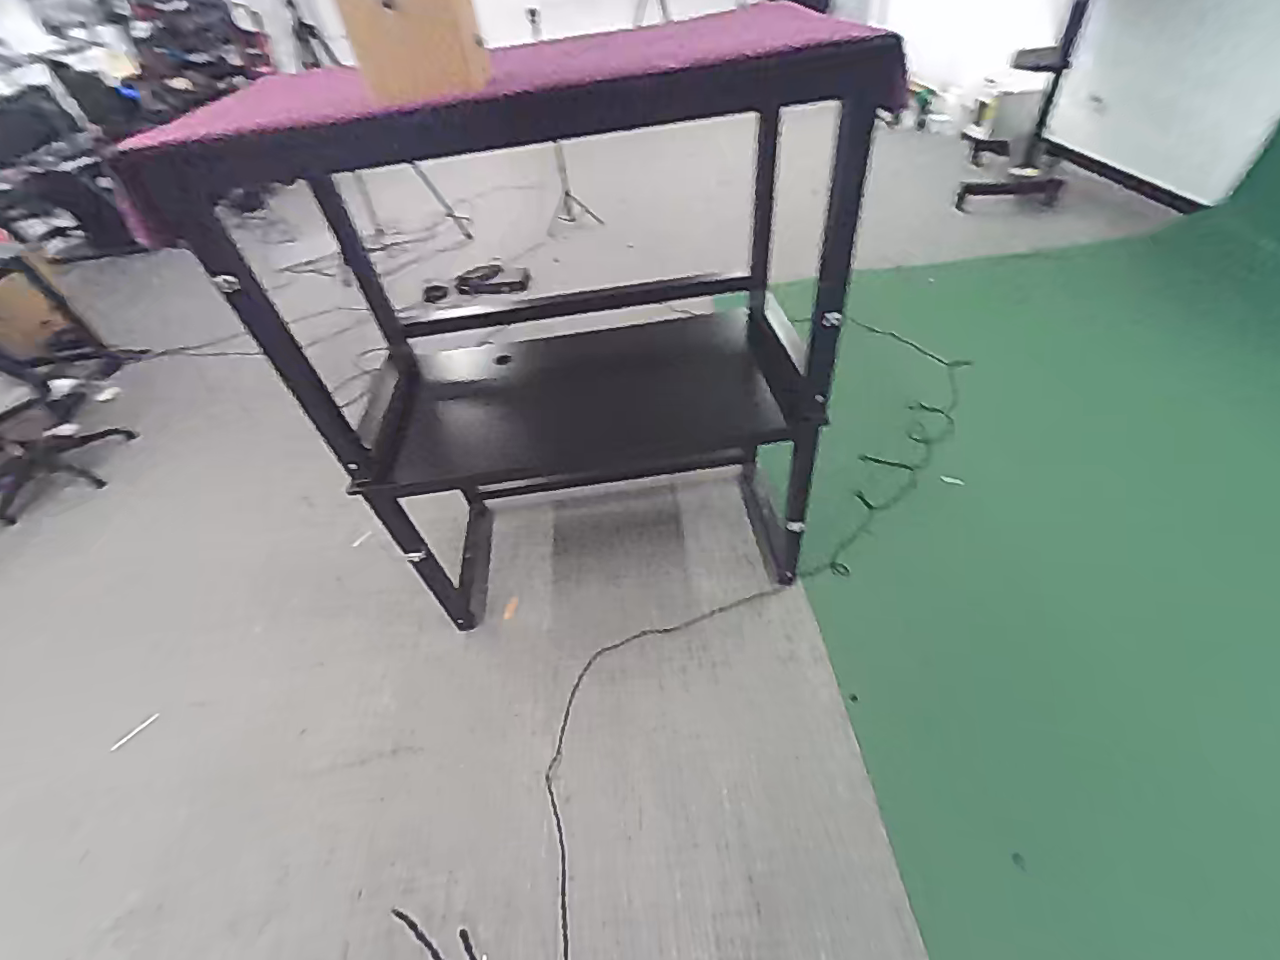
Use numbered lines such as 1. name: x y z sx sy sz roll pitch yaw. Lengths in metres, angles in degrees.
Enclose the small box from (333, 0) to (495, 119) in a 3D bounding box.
1. small box: -0.355 -0.708 0.878 0.179 0.176 0.168 -7 45 3
